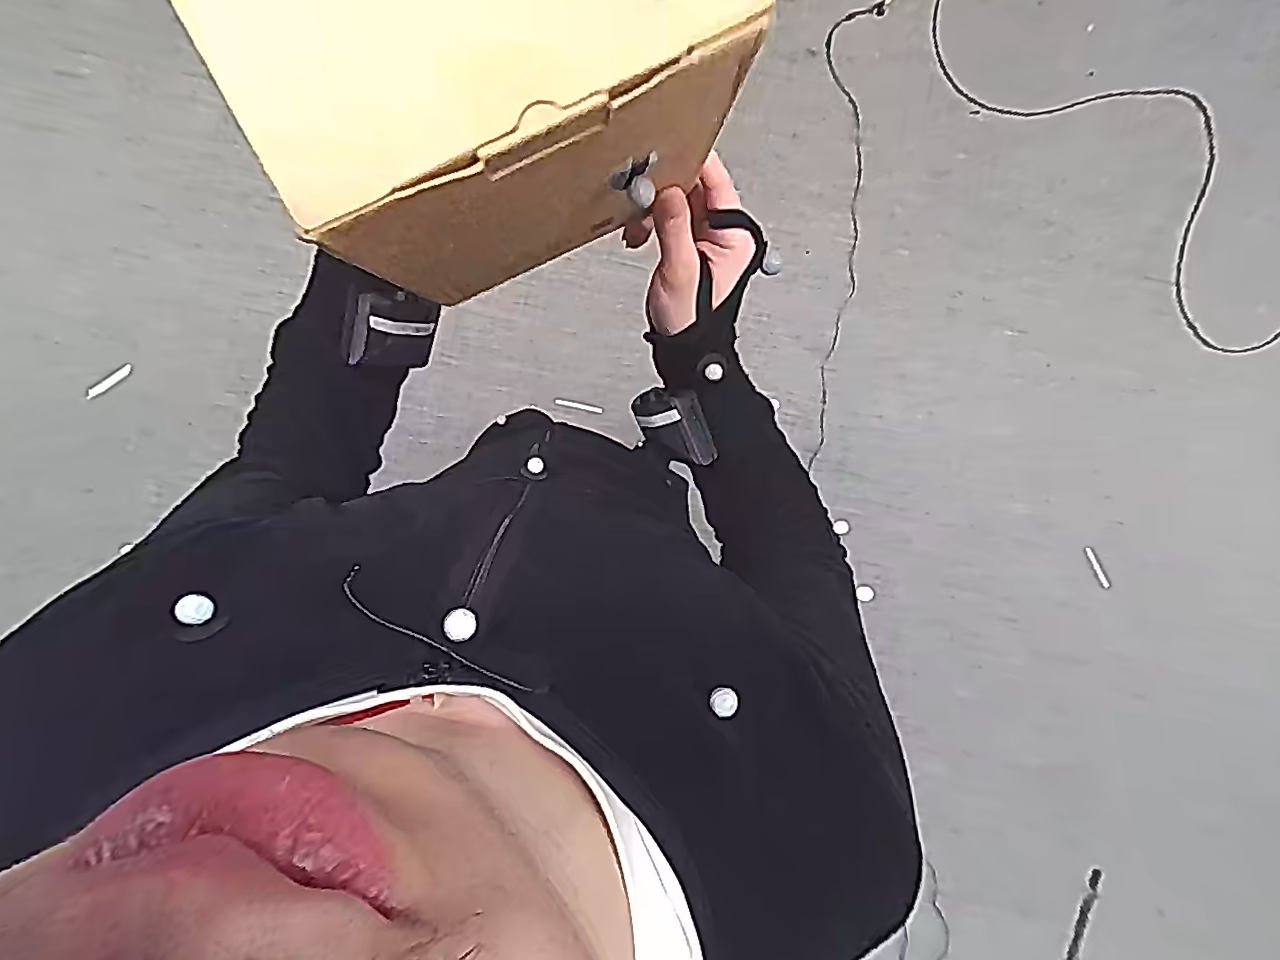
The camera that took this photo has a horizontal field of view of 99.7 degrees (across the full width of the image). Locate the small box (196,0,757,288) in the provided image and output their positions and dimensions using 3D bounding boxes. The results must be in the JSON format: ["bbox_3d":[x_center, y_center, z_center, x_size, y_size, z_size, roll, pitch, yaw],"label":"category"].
[{"bbox_3d":[-0.074,-0.204,0.243,0.168,0.176,0.179,-27,100,-1],"label":"small box"}]
